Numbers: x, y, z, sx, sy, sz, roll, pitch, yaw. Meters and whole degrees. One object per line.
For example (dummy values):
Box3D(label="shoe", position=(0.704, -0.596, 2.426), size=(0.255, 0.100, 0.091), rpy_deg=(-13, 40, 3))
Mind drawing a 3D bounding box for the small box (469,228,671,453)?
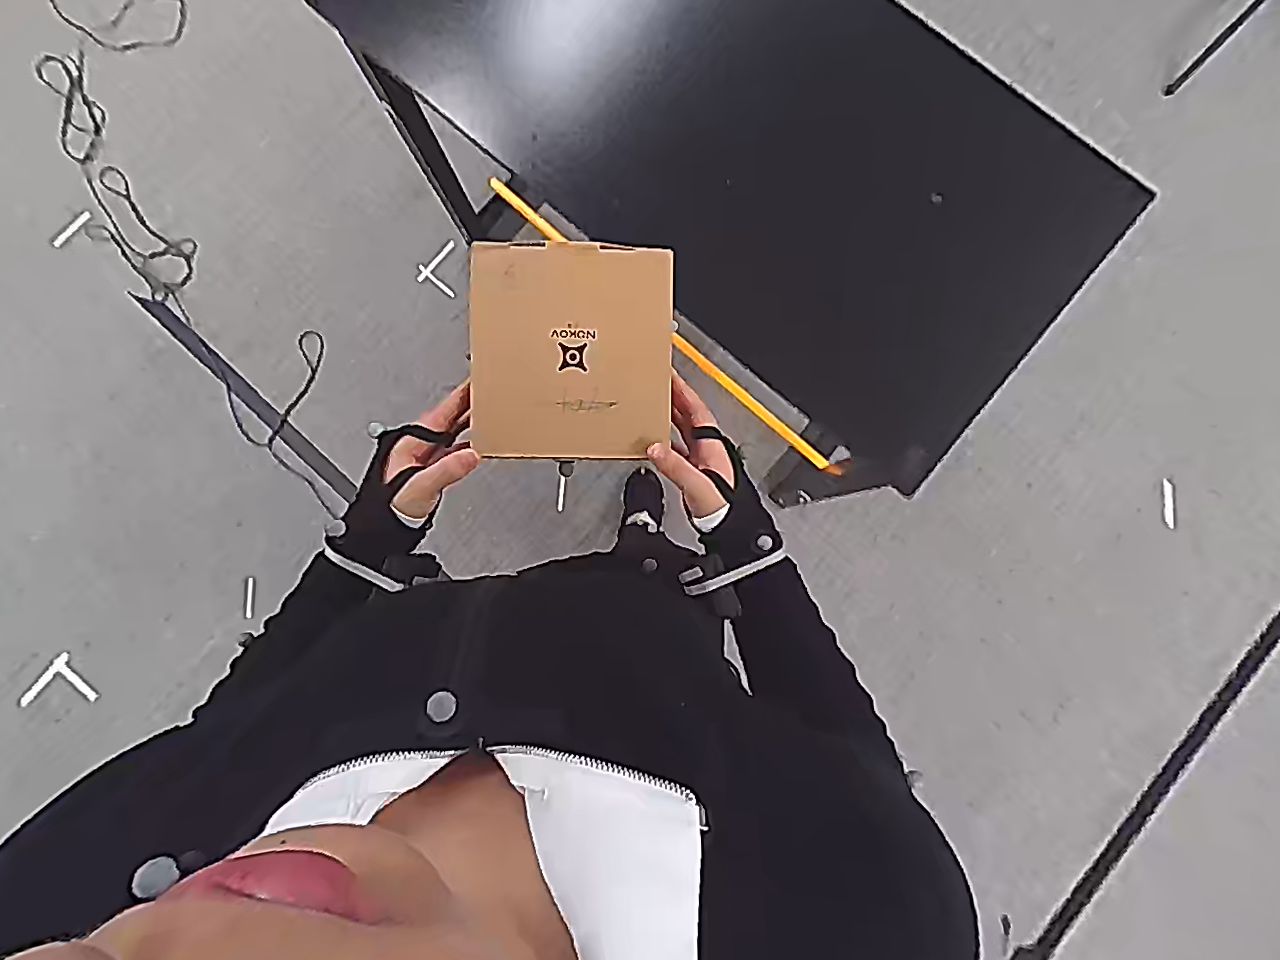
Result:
Box3D(label="small box", position=(-0.063, -0.117, 0.523), size=(0.168, 0.176, 0.179), rpy_deg=(0, 92, -4))
